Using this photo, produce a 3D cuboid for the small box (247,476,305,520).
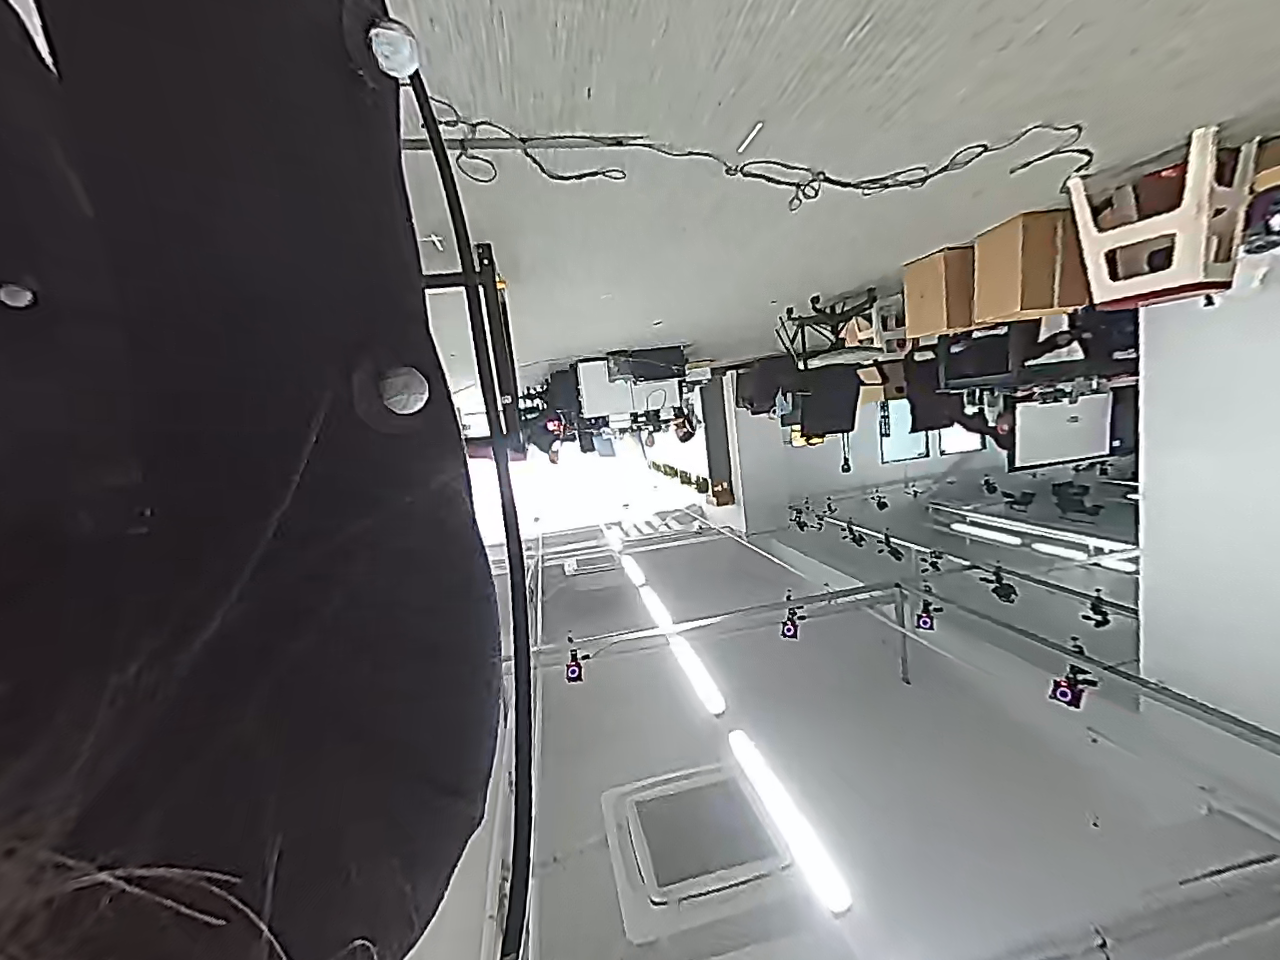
[{"bbox_3d":[-1.519,0.075,2.231,0.179,0.176,0.168,-8,-174,-10],"label":"small box"}]
